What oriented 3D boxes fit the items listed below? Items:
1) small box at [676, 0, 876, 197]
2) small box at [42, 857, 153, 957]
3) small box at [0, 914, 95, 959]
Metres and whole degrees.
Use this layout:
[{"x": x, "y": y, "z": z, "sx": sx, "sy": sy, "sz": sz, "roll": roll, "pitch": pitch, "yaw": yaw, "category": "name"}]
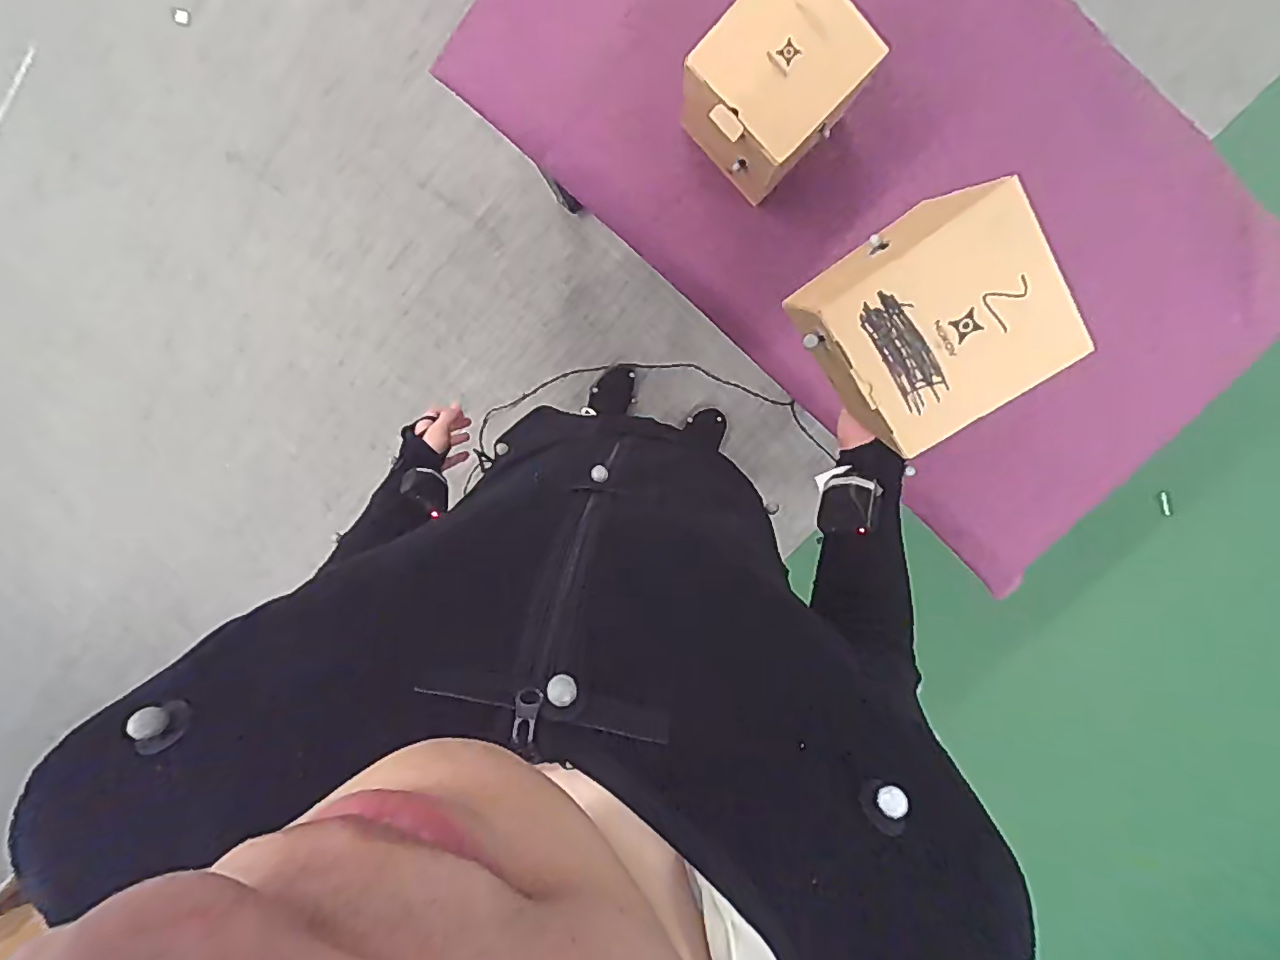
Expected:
[{"x": 0.163, "y": -0.515, "z": 0.713, "sx": 0.179, "sy": 0.176, "sz": 0.168, "roll": -44, "pitch": 98, "yaw": 9, "category": "small box"}, {"x": -1.444, "y": 1.147, "z": 1.412, "sx": 0.168, "sy": 0.176, "sz": 0.179, "roll": 44, "pitch": 98, "yaw": -7, "category": "small box"}, {"x": -1.445, "y": 1.175, "z": 1.252, "sx": 0.168, "sy": 0.176, "sz": 0.179, "roll": 43, "pitch": 98, "yaw": -6, "category": "small box"}]
